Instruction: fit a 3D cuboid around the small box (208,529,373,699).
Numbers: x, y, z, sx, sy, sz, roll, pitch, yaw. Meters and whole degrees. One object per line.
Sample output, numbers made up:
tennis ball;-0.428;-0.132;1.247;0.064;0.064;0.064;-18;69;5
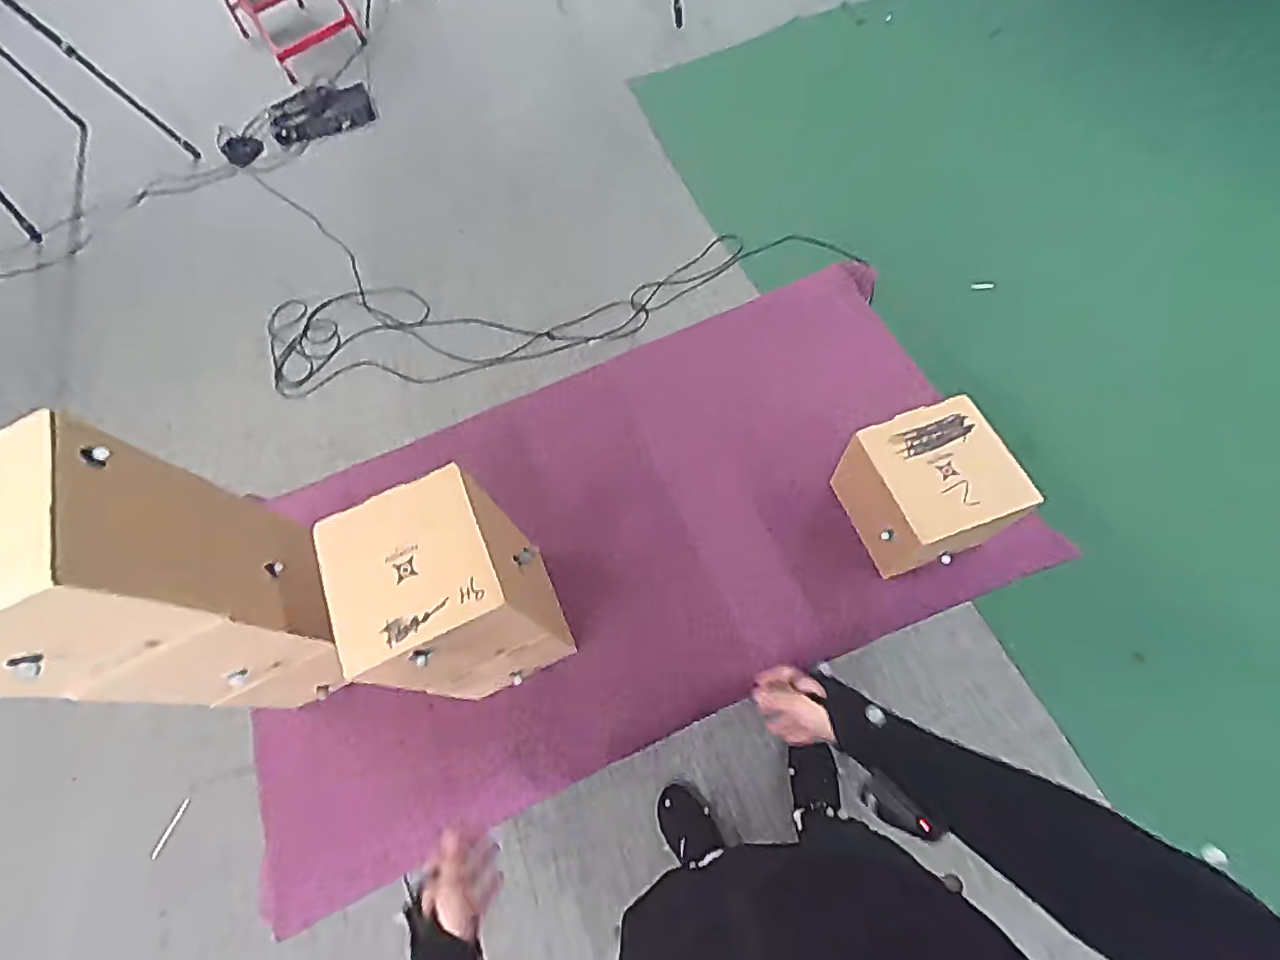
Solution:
small box;-0.493;0.203;0.791;0.168;0.176;0.179;-26;67;-5

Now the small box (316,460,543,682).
small box;-0.231;0.112;0.621;0.168;0.176;0.179;-25;65;-4

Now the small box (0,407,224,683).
small box;-0.526;0.072;0.495;0.168;0.176;0.179;-27;66;-5

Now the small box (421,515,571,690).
small box;-0.214;0.181;0.770;0.168;0.176;0.179;-24;66;-5

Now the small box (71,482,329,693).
small box;-0.509;0.136;0.643;0.168;0.176;0.179;-26;67;-5
